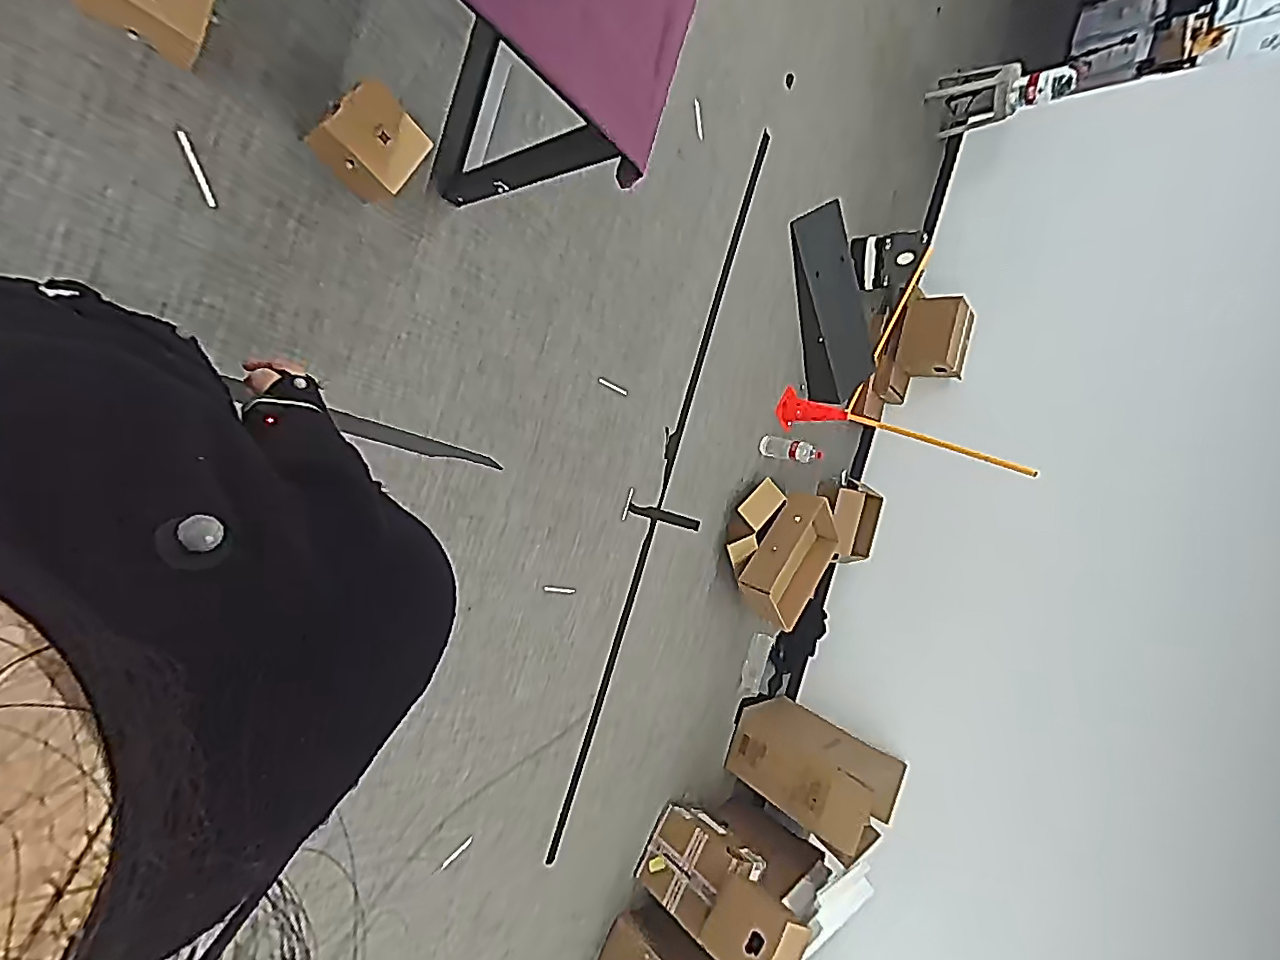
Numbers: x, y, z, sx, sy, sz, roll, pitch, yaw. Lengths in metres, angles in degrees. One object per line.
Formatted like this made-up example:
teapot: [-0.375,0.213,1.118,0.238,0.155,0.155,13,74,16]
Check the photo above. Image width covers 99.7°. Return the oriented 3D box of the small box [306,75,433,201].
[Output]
small box: [-0.625,-0.774,1.247,0.179,0.176,0.168,42,72,-43]
